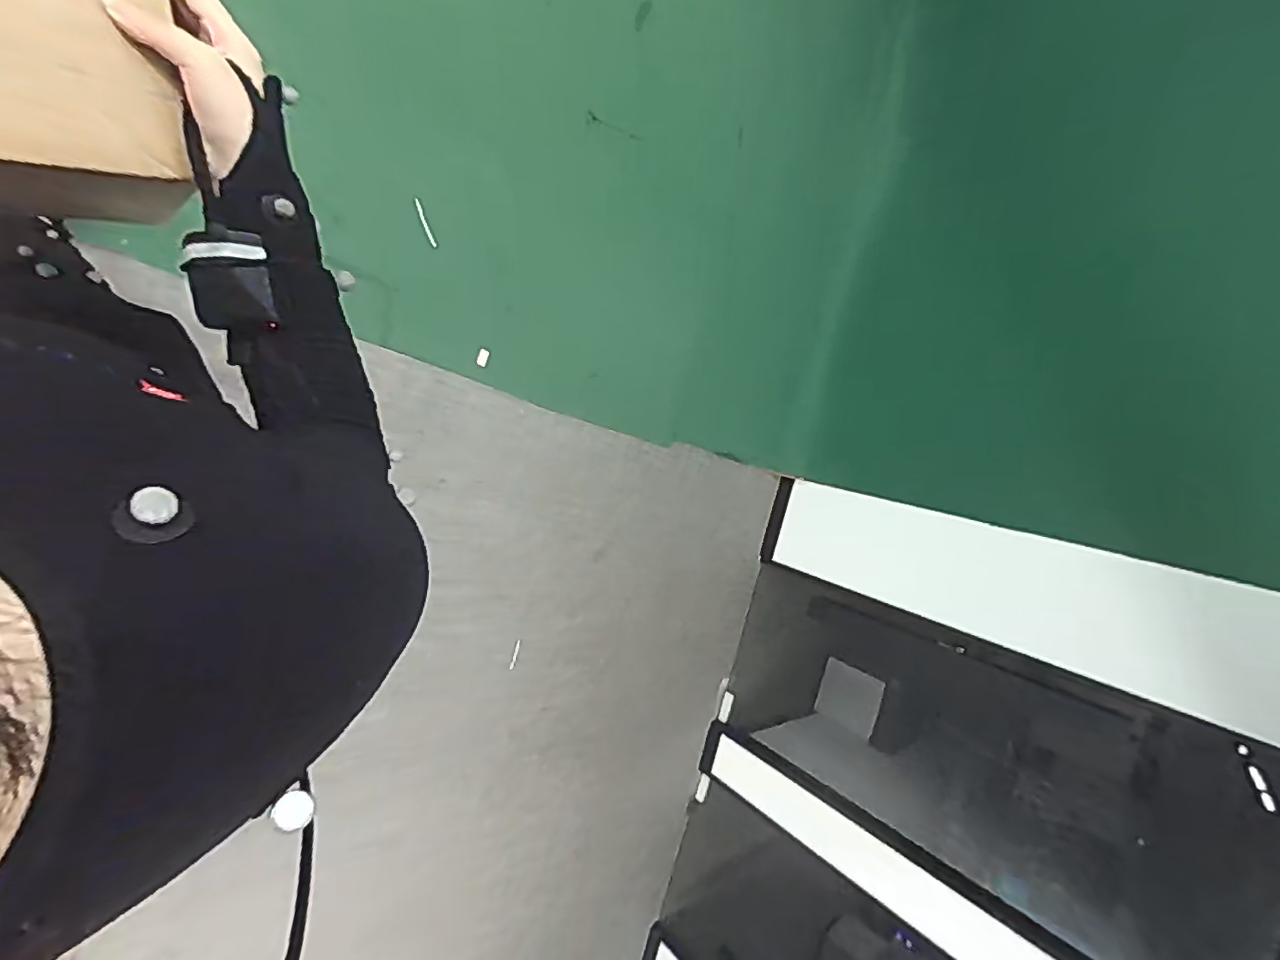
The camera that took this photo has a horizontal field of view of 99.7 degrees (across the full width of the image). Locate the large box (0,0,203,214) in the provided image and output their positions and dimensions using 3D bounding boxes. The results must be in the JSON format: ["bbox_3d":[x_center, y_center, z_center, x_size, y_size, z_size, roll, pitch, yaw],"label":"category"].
[{"bbox_3d":[-0.562,-0.355,0.309,0.408,0.320,0.320,-18,116,-43],"label":"large box"}]
